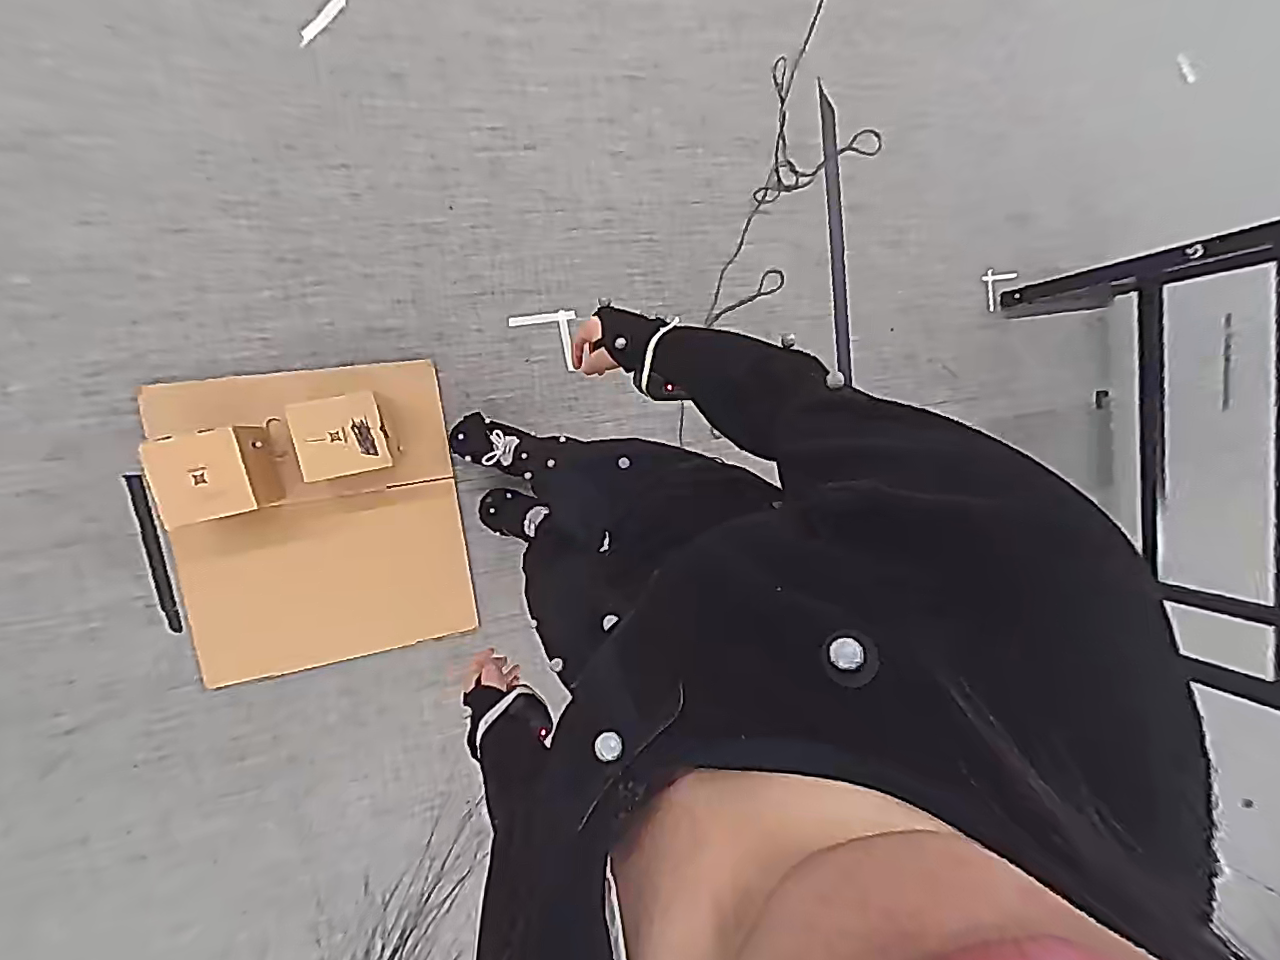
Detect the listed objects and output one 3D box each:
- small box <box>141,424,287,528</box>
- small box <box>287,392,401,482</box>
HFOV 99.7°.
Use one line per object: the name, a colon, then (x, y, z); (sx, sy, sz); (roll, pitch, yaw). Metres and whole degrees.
small box: (-0.881, -0.015, 1.137); (0.168, 0.176, 0.179); (-15, 100, -14)
small box: (-0.643, -0.100, 1.201); (0.179, 0.176, 0.168); (-13, 99, -16)
